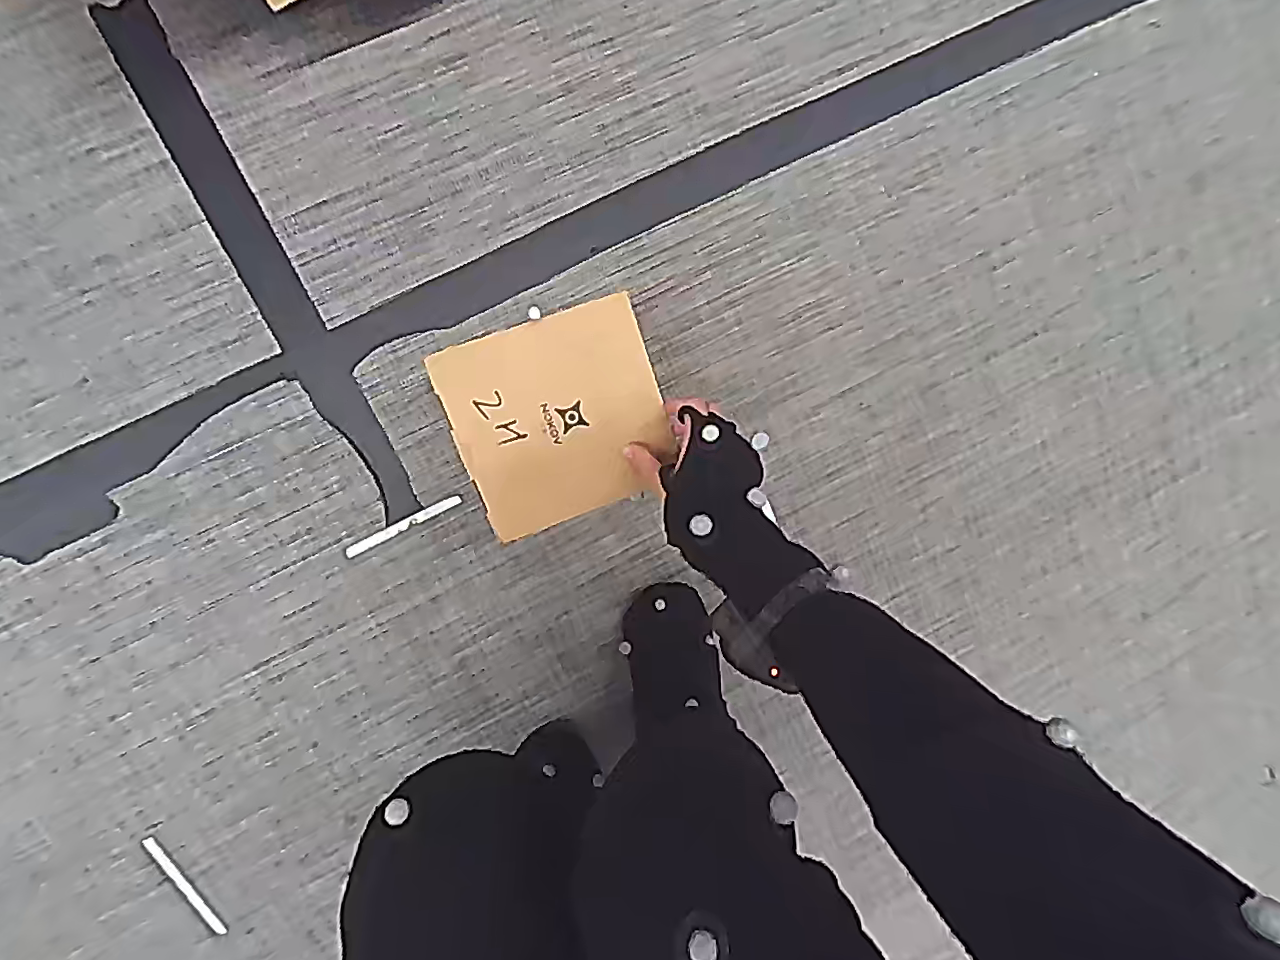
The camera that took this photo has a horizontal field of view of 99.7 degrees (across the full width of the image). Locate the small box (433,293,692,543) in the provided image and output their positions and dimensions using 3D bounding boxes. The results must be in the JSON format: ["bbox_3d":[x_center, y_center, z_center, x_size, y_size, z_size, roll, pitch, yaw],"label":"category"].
[{"bbox_3d":[-0.074,-0.063,0.523,0.179,0.176,0.168,-21,102,-8],"label":"small box"}]
